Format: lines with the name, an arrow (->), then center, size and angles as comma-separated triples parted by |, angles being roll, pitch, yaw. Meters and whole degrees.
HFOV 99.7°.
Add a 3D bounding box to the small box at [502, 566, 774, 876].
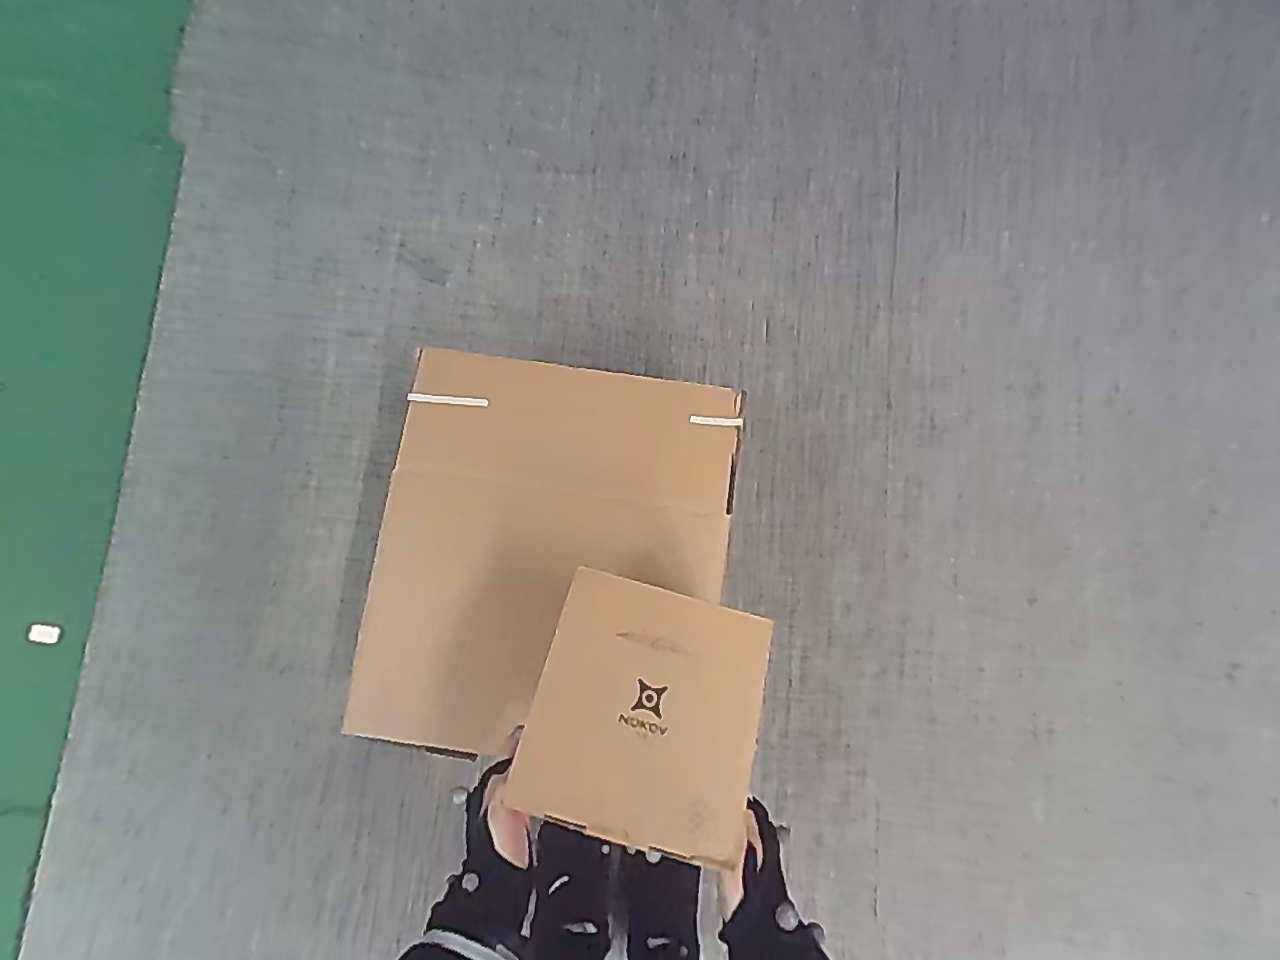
small box -> 0.001, 0.199, 0.468 | 0.168, 0.176, 0.179 | 16, 64, 3
